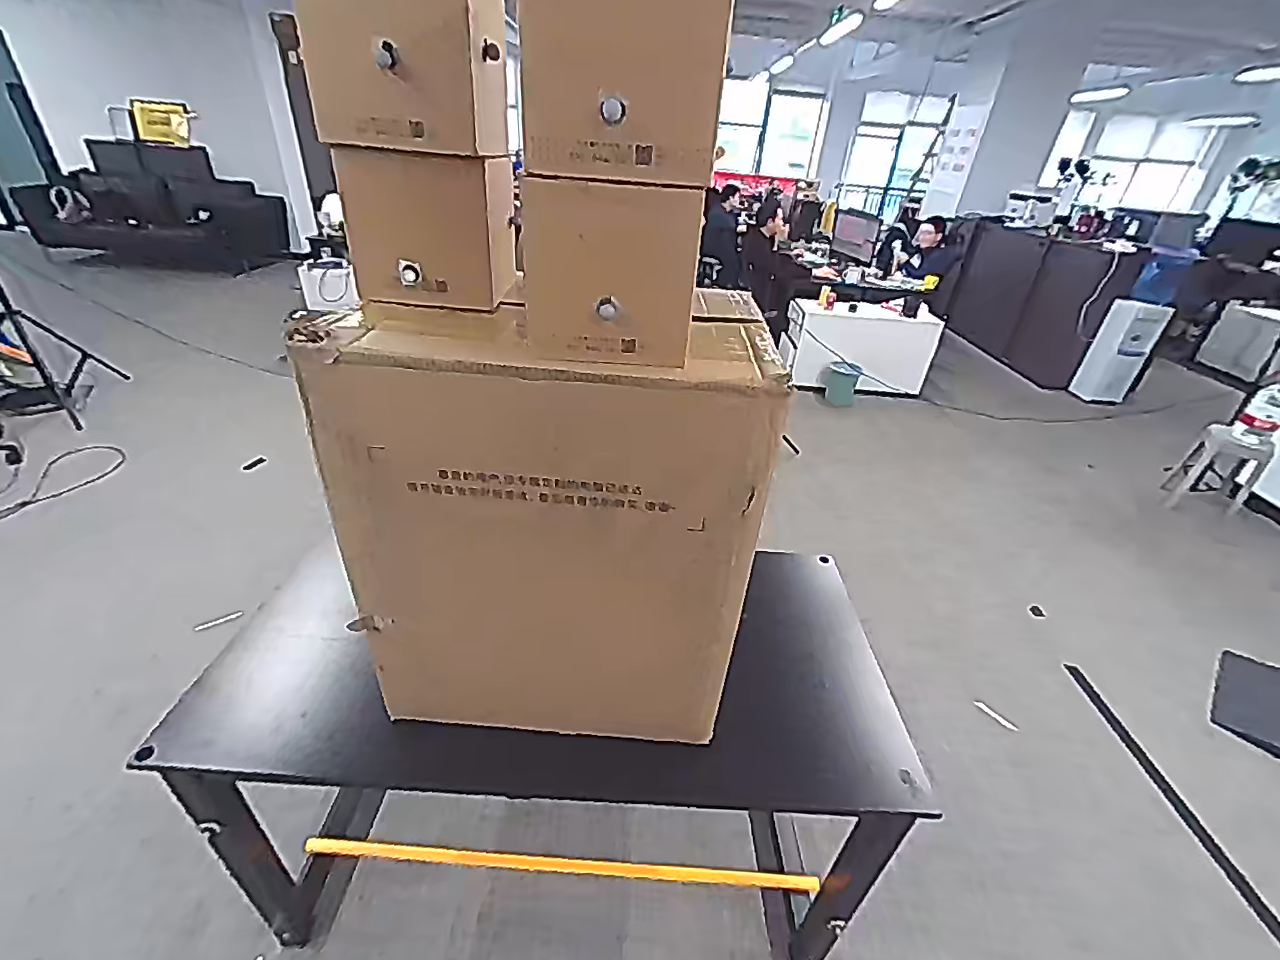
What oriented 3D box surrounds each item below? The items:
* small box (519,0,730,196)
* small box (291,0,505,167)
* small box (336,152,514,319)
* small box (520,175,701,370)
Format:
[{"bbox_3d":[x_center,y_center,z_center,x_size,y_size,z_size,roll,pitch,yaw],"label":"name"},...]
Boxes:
[{"bbox_3d":[-0.015,-0.369,0.501,0.168,0.176,0.179,3,32,-1],"label":"small box"},{"bbox_3d":[-0.249,-0.451,0.601,0.168,0.176,0.179,3,32,-3],"label":"small box"},{"bbox_3d":[-0.259,-0.320,0.699,0.168,0.176,0.179,2,32,-4],"label":"small box"},{"bbox_3d":[-0.030,-0.233,0.593,0.168,0.176,0.179,2,32,-1],"label":"small box"}]
